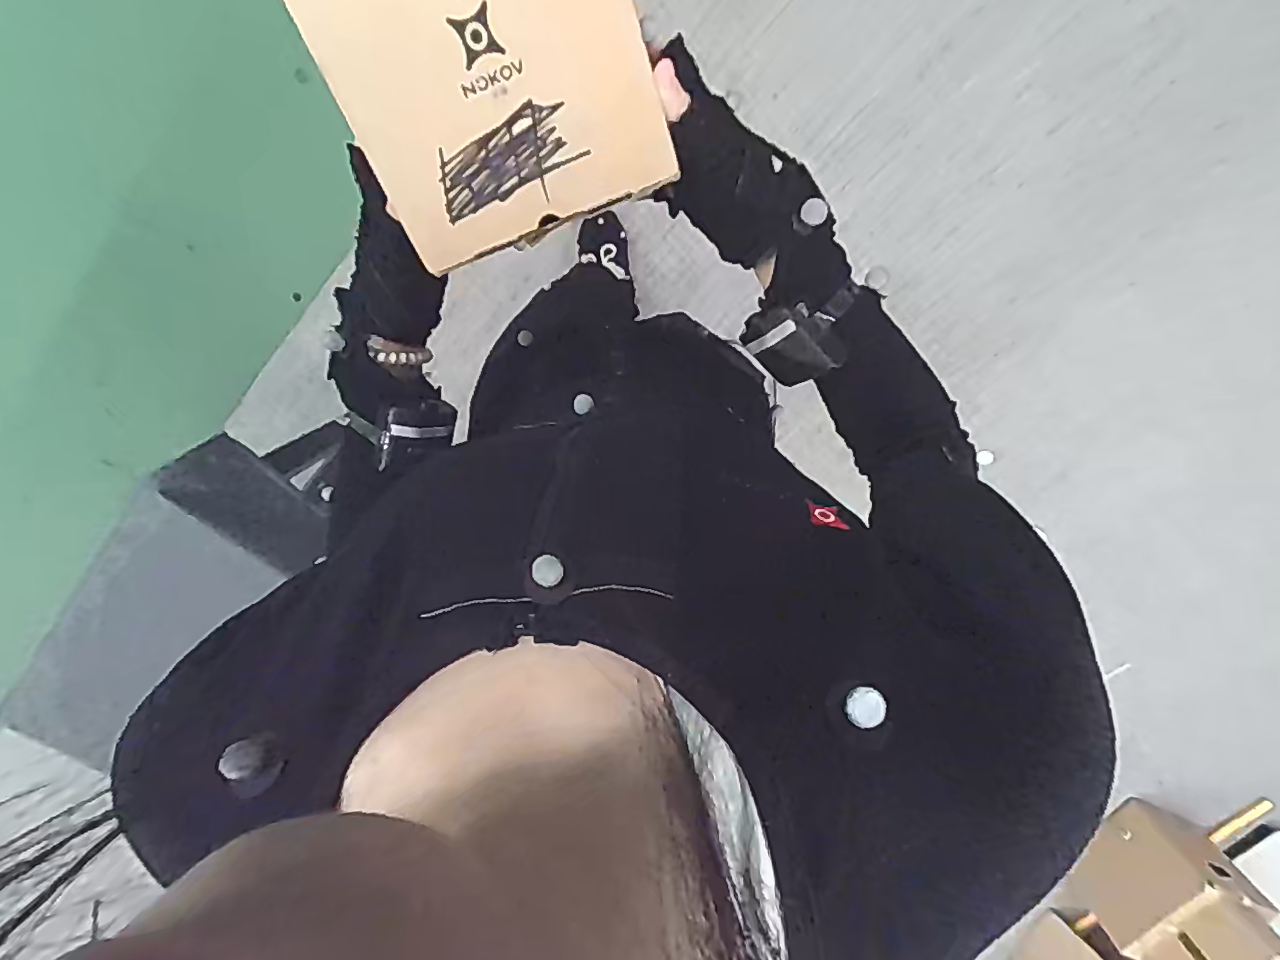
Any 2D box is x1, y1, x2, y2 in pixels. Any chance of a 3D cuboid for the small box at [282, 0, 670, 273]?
[{"bbox_3d":[-0.086,-0.262,0.352,0.168,0.176,0.179,-18,119,8],"label":"small box"}]
